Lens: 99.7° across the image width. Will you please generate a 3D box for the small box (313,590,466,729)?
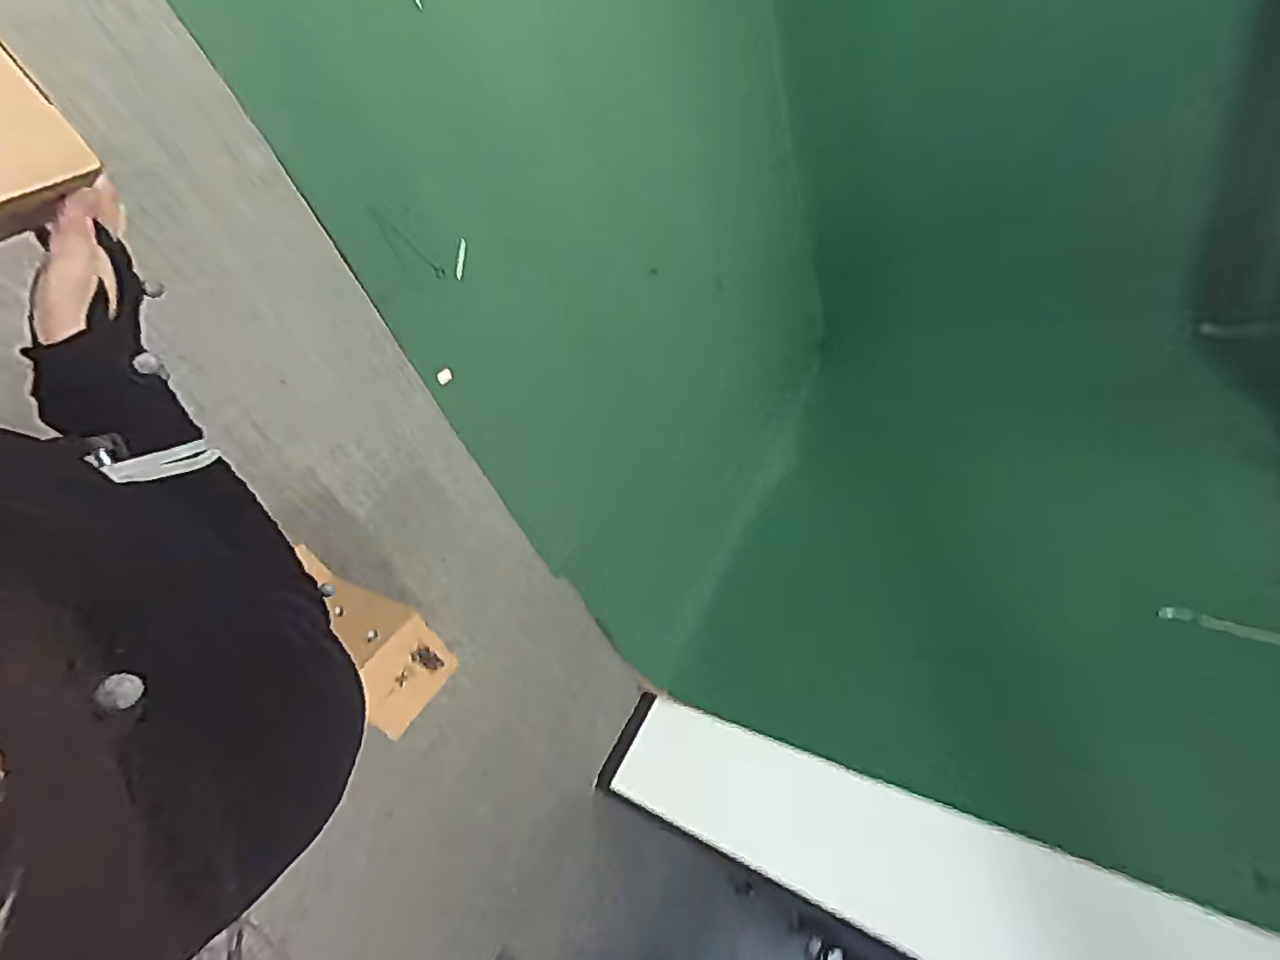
[{"bbox_3d":[-0.485,0.340,1.053,0.179,0.176,0.168,-53,134,-36],"label":"small box"}]
